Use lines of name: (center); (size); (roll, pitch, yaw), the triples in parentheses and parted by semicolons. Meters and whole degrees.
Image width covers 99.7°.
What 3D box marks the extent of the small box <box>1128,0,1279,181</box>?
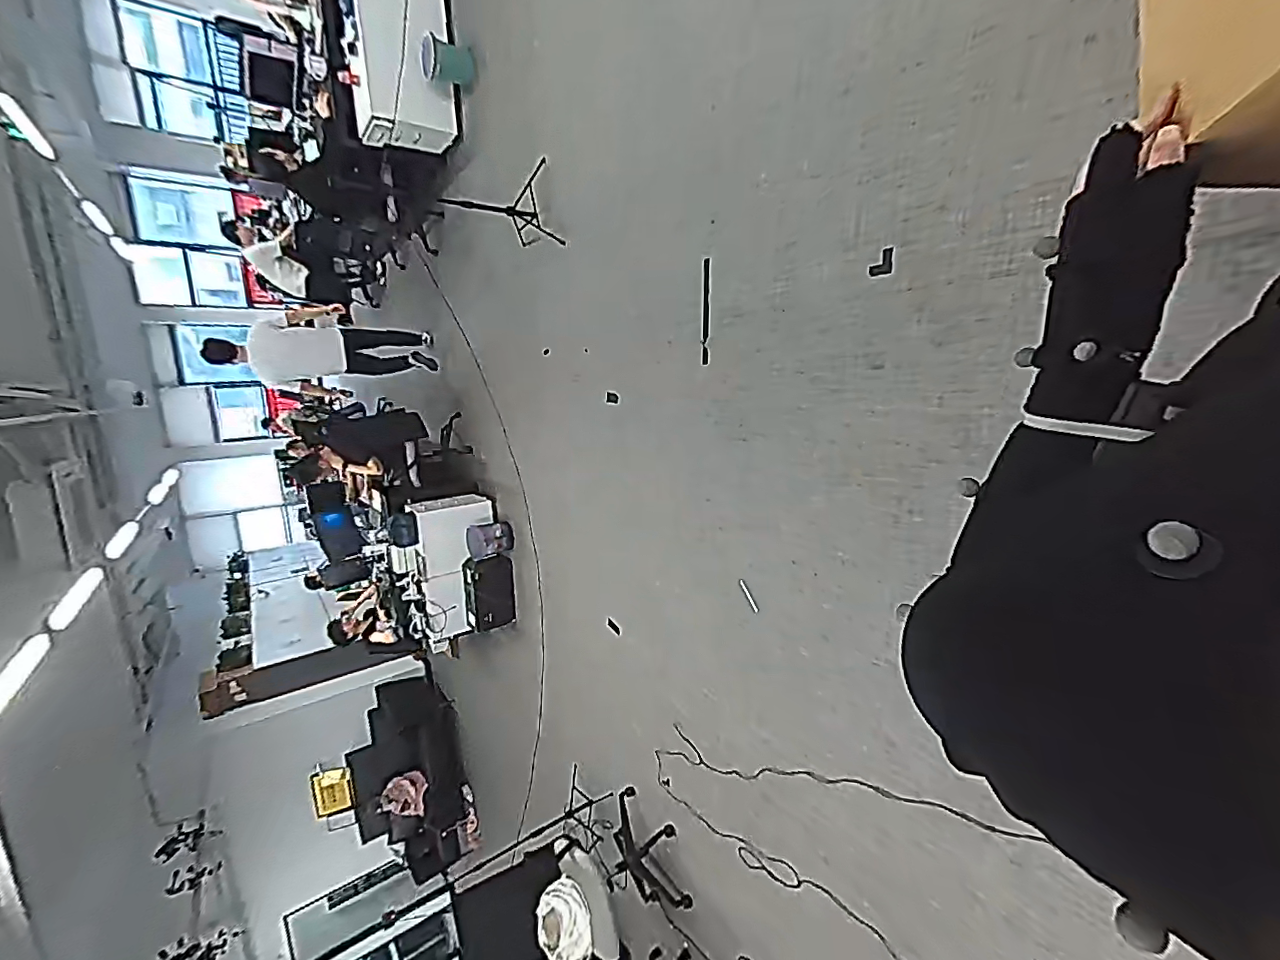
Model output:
small box: (0.409, -0.288, 0.282); (0.168, 0.179, 0.176); (53, -138, -82)
